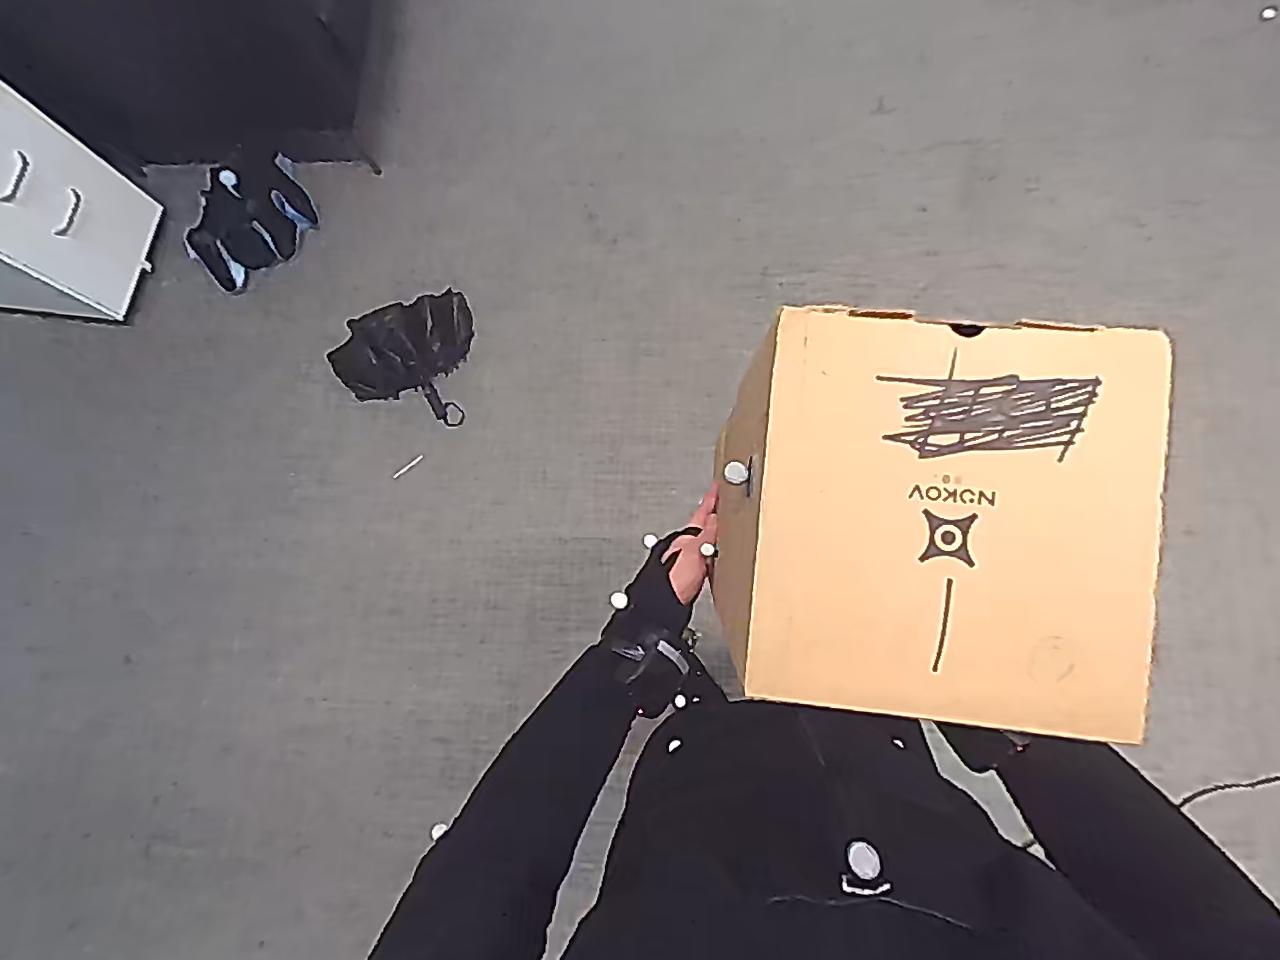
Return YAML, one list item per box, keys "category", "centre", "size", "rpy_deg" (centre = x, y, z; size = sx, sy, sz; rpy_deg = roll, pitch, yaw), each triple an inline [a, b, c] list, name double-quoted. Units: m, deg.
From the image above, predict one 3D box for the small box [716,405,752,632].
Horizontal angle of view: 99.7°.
- category: "small box"
  centre: [0.159, 0.039, 0.485]
  size: [0.168, 0.176, 0.179]
  rpy_deg: [4, 86, 5]

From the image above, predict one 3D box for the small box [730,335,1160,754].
- category: "small box"
  centre: [0.147, 0.029, 0.321]
  size: [0.168, 0.176, 0.179]
  rpy_deg: [5, 88, 5]
